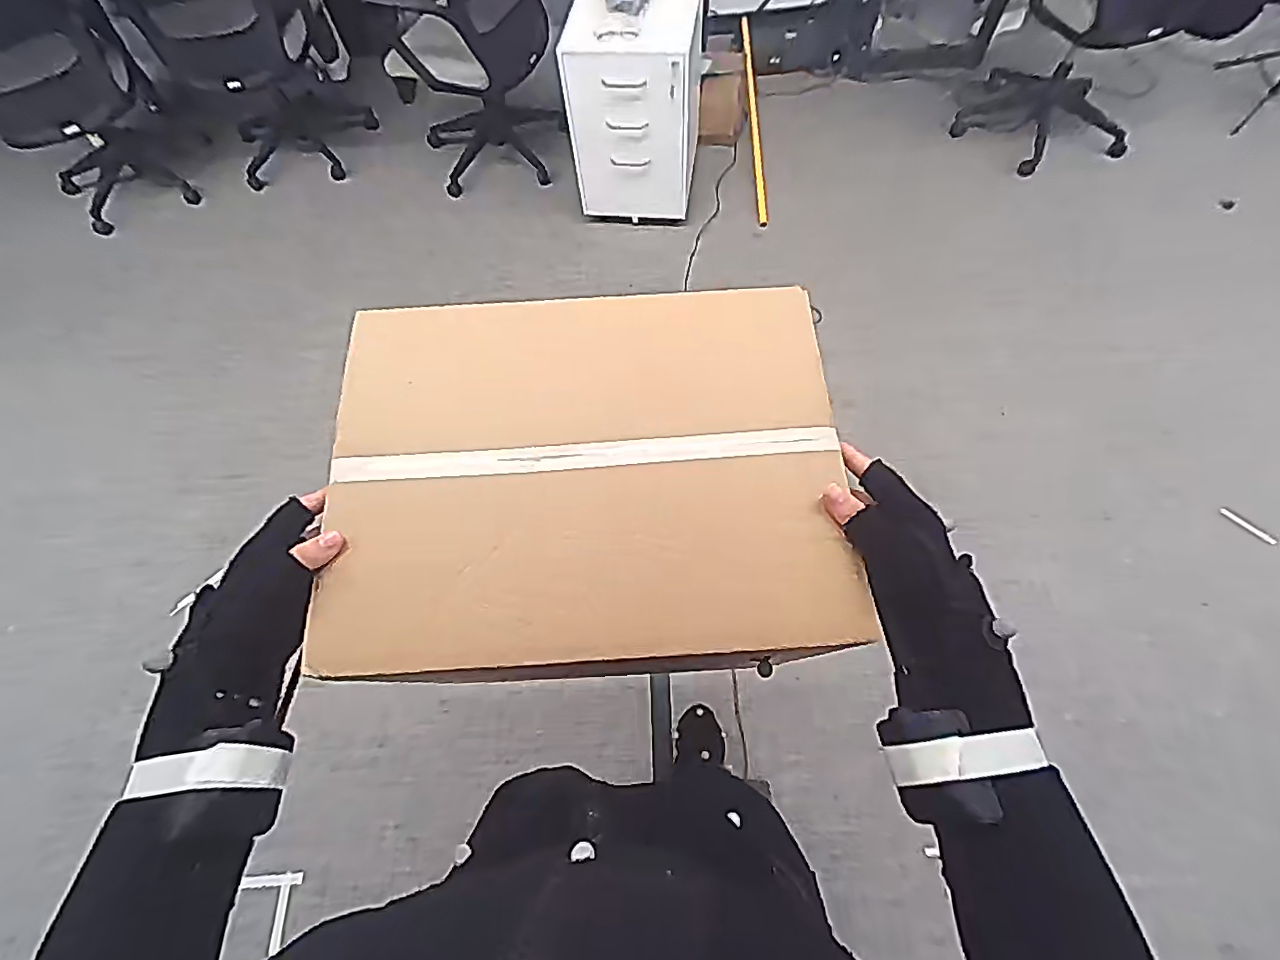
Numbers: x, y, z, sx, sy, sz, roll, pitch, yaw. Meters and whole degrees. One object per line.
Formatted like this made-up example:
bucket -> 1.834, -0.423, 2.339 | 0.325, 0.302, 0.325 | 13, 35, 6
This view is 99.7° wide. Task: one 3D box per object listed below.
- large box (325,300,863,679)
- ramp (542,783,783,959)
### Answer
large box -> -0.039, 0.039, 0.585 | 0.408, 0.320, 0.320 | -3, 68, -1
ramp -> 0.045, 1.119, 0.975 | 0.509, 0.206, 0.991 | -4, 63, 2
